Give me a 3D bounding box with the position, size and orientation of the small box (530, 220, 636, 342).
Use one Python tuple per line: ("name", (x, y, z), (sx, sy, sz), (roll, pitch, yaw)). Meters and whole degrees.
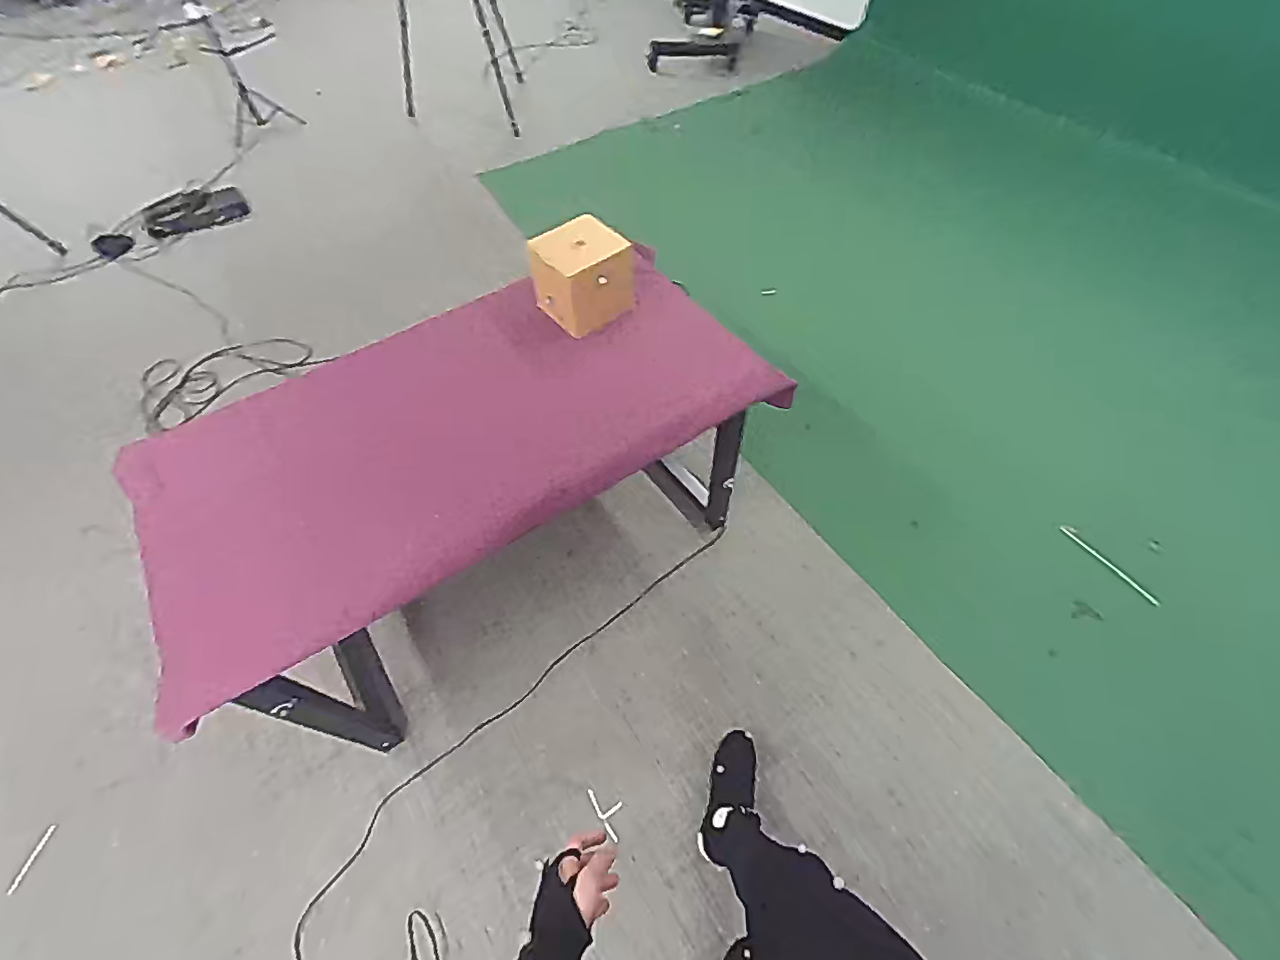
("small box", (-0.124, -0.454, 1.244), (0.179, 0.176, 0.168), (-35, 62, -18))
